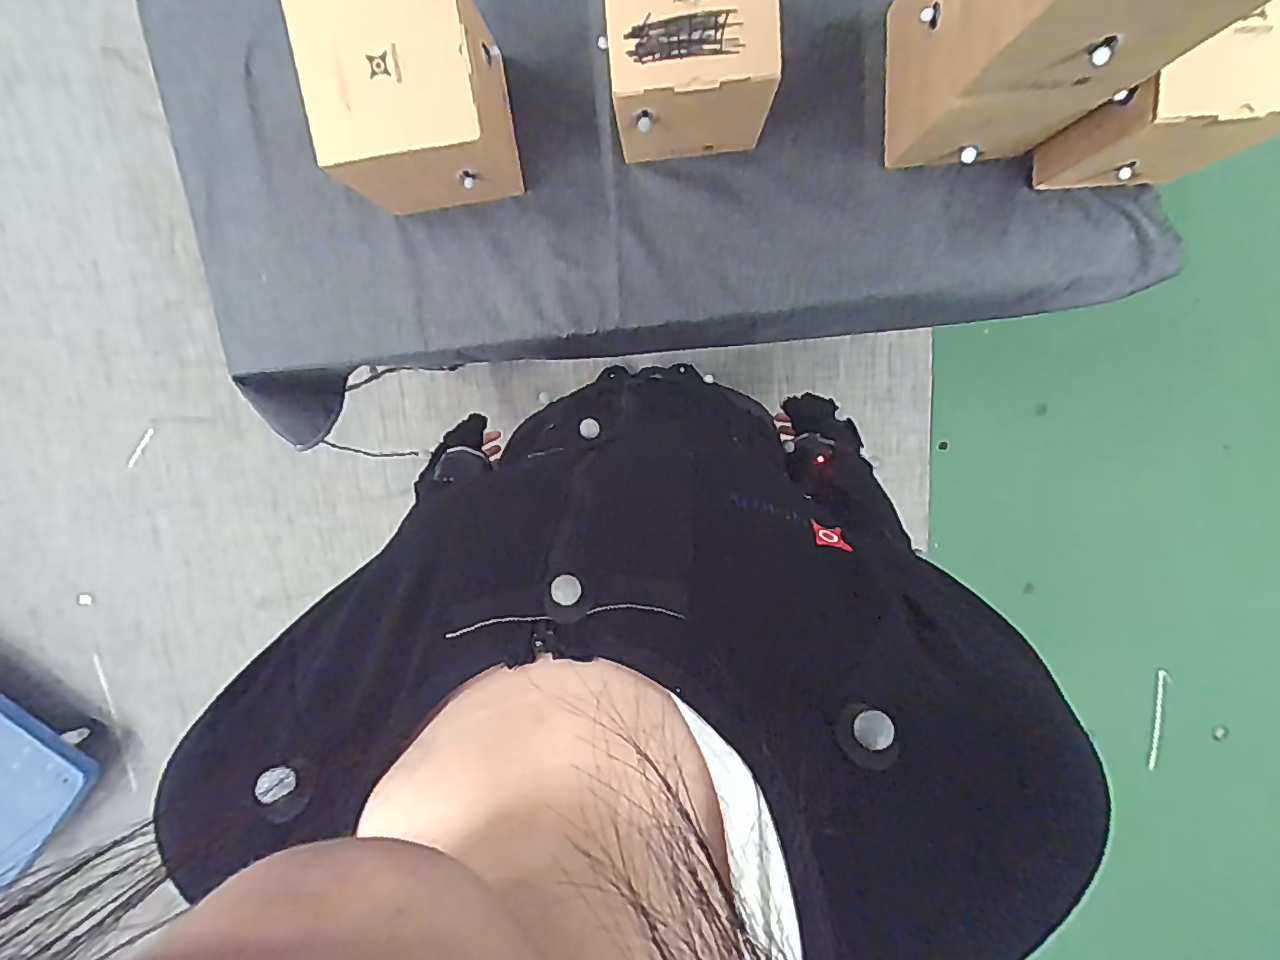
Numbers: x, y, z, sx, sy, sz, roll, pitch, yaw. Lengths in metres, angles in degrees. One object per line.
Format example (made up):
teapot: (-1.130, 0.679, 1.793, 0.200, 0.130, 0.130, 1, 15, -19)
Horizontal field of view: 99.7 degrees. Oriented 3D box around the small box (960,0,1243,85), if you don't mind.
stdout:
small box: (0.373, -0.436, 0.415, 0.168, 0.176, 0.179, -2, 100, 3)
